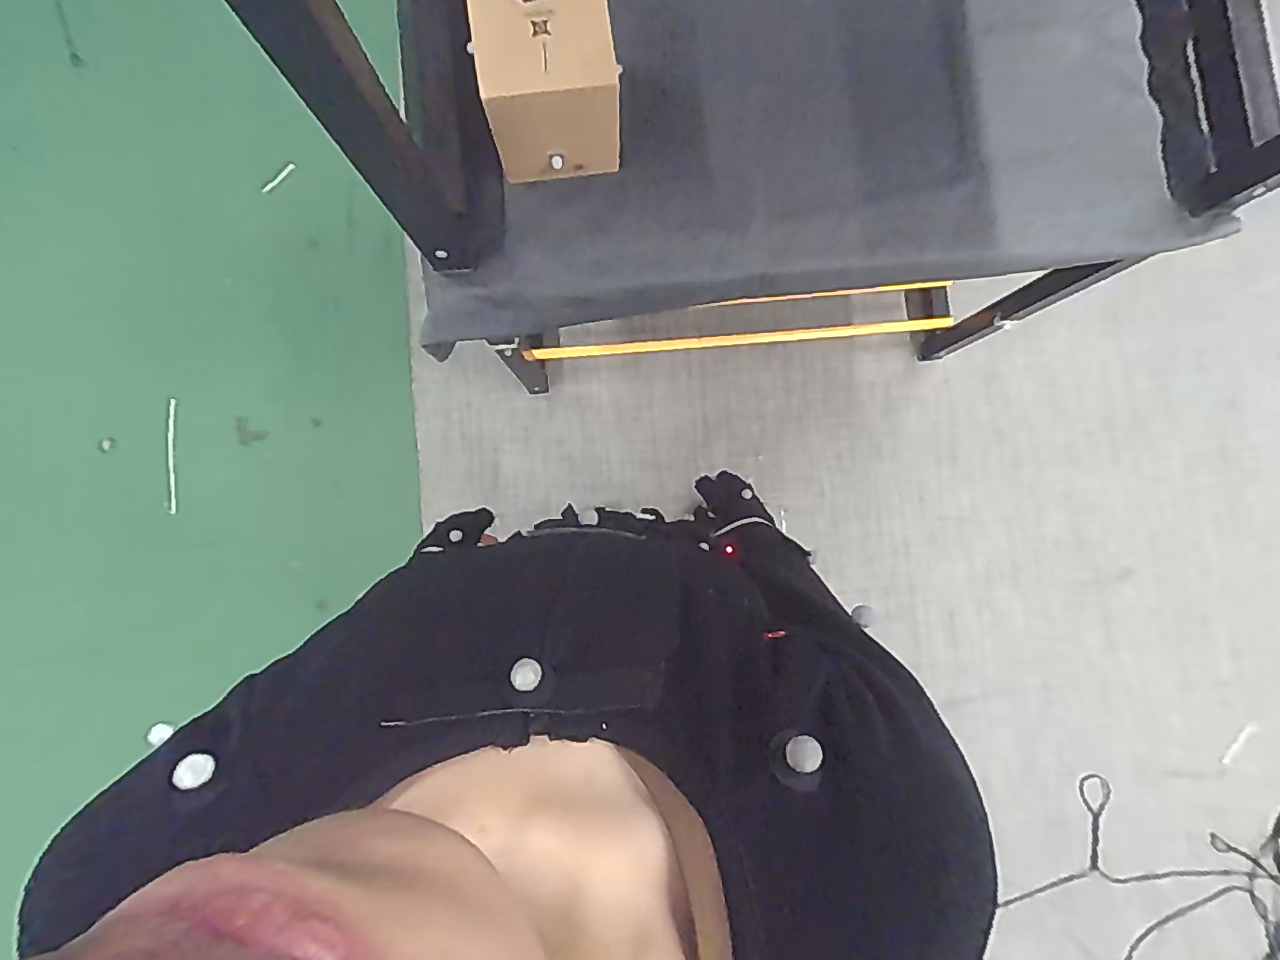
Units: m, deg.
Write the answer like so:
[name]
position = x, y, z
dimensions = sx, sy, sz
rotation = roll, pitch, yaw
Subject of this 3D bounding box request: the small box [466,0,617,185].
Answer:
[small box]
position = -0.123, -0.529, 0.716
dimensions = 0.168, 0.176, 0.179
rotation = -8, 87, -2
